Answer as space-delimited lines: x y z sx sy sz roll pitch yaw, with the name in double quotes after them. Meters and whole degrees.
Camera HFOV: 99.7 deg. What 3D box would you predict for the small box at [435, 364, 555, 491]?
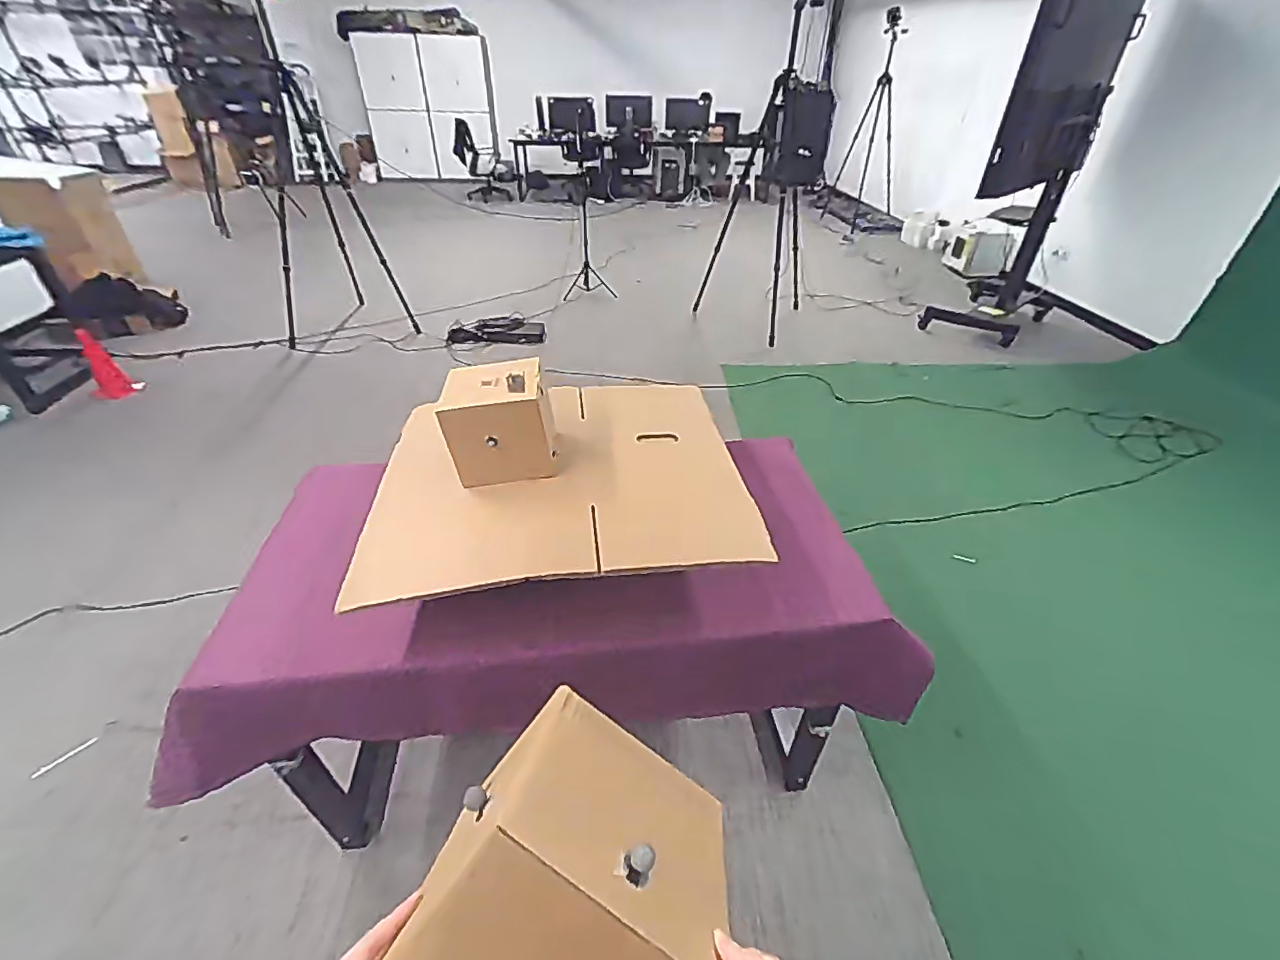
-0.261 -0.099 1.024 0.179 0.176 0.168 -9 38 -1 "small box"
